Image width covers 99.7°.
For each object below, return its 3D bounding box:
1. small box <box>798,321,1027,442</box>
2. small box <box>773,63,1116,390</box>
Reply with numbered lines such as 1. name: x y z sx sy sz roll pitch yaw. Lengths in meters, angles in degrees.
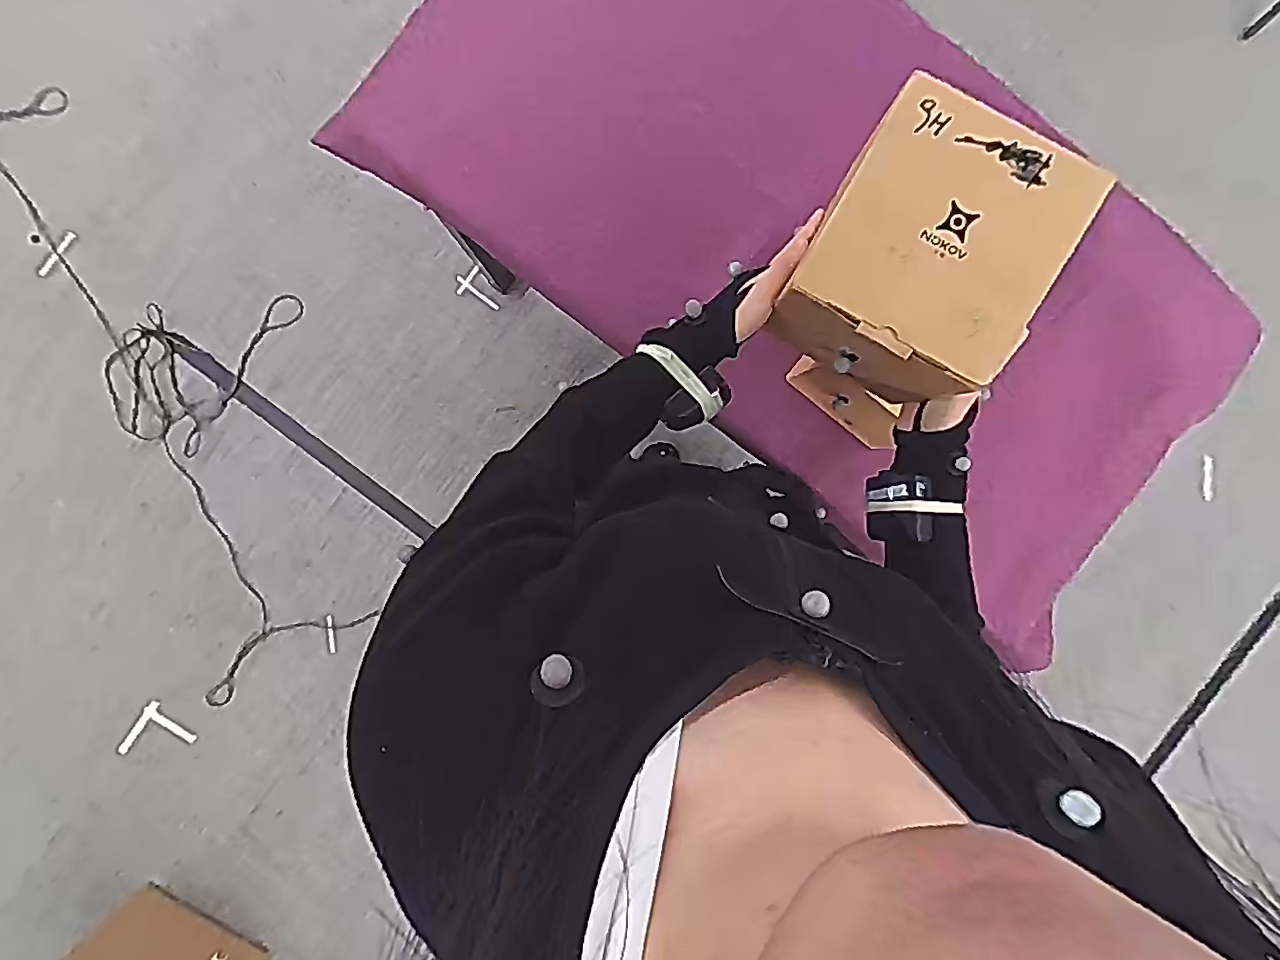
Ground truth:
1. small box: 0.327 -0.161 0.696 0.168 0.176 0.179 38 90 -4
2. small box: 0.232 -0.192 0.472 0.168 0.176 0.179 30 97 1
